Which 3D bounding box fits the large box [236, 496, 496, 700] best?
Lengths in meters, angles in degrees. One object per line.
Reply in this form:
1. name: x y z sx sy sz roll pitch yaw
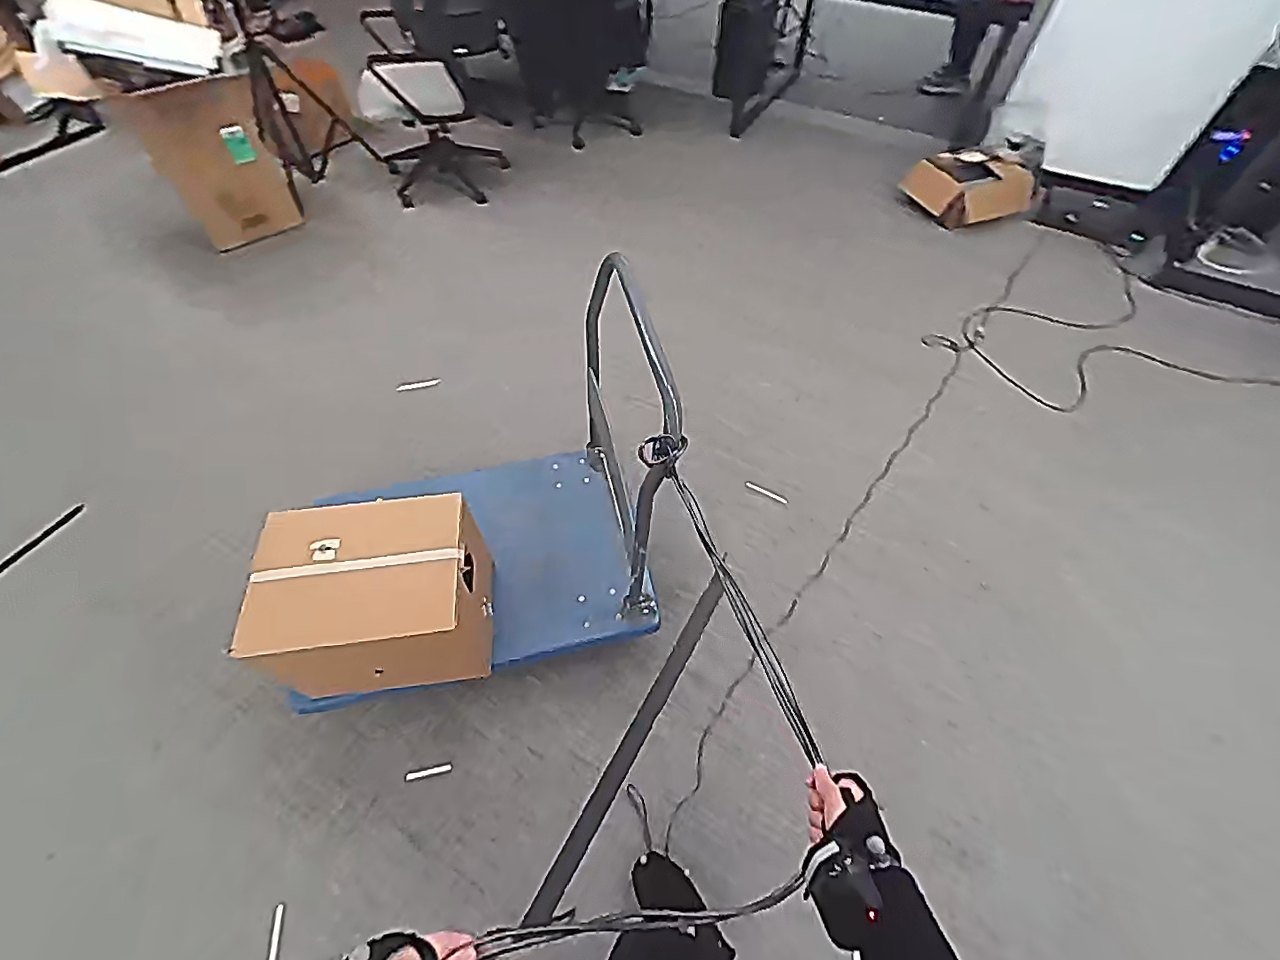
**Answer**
1. large box: -0.551 0.266 1.190 0.408 0.320 0.320 -7 54 -4
